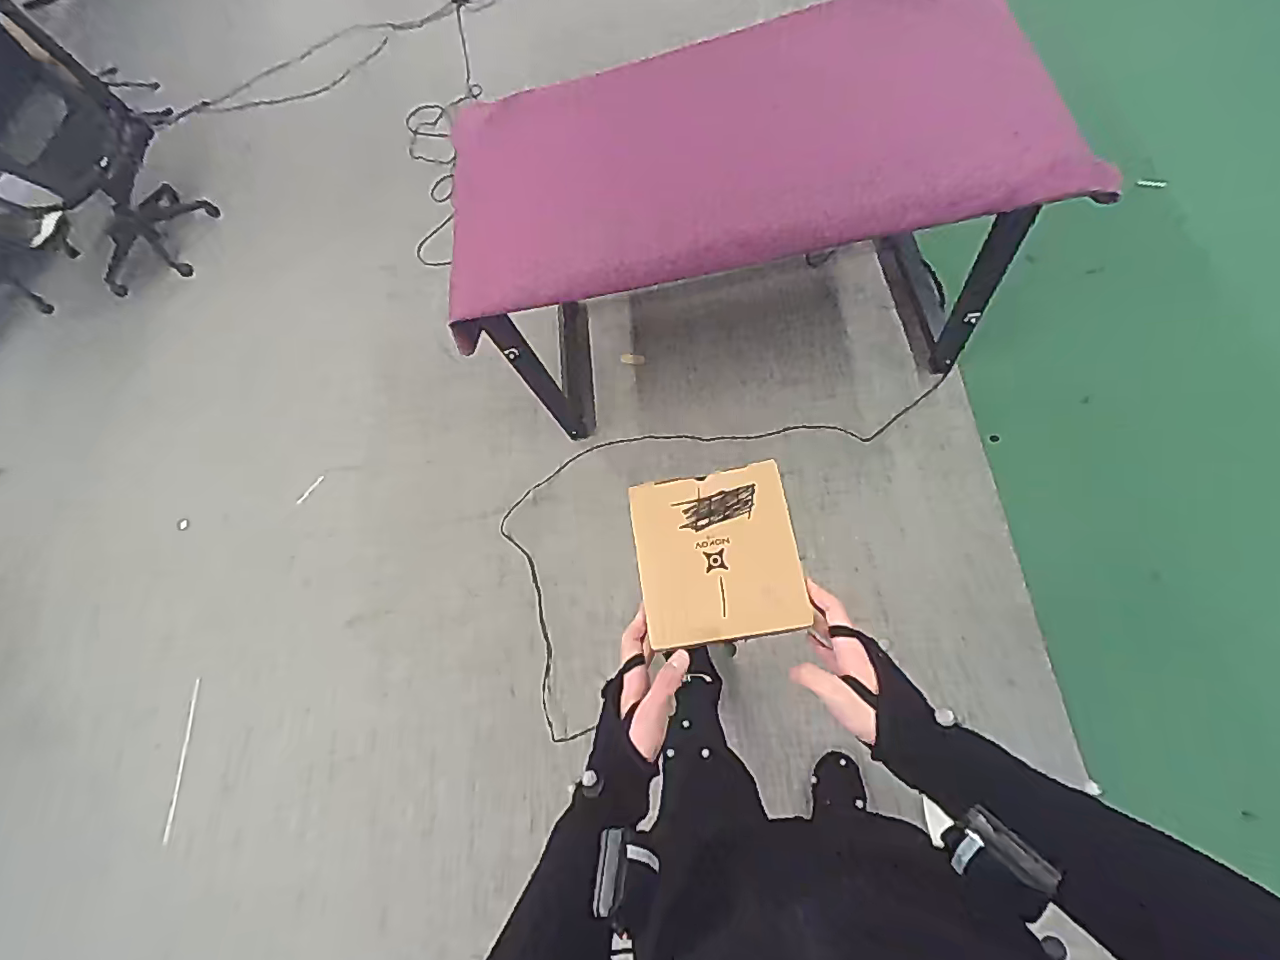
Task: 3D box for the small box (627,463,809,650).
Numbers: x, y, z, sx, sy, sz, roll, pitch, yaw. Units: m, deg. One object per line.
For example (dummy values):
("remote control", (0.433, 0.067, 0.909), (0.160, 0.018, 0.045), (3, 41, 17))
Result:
("small box", (0.089, 0.100, 0.637), (0.168, 0.176, 0.179), (-11, 71, 8))
